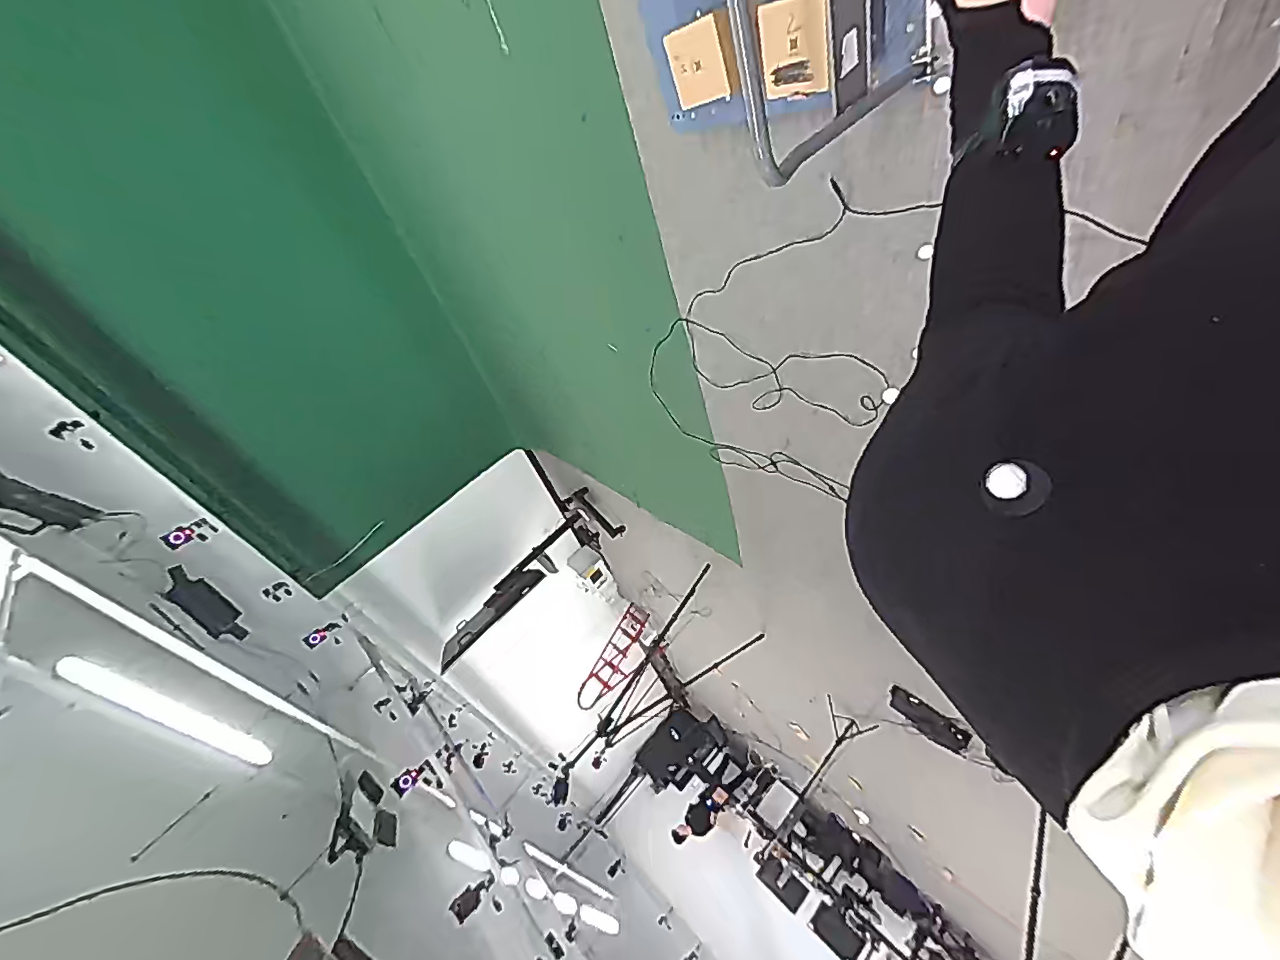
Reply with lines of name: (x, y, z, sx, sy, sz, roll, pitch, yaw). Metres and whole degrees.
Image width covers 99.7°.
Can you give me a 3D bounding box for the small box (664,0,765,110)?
small box: (0.199, -1.084, 1.375, 0.179, 0.176, 0.168, 23, 147, 46)
